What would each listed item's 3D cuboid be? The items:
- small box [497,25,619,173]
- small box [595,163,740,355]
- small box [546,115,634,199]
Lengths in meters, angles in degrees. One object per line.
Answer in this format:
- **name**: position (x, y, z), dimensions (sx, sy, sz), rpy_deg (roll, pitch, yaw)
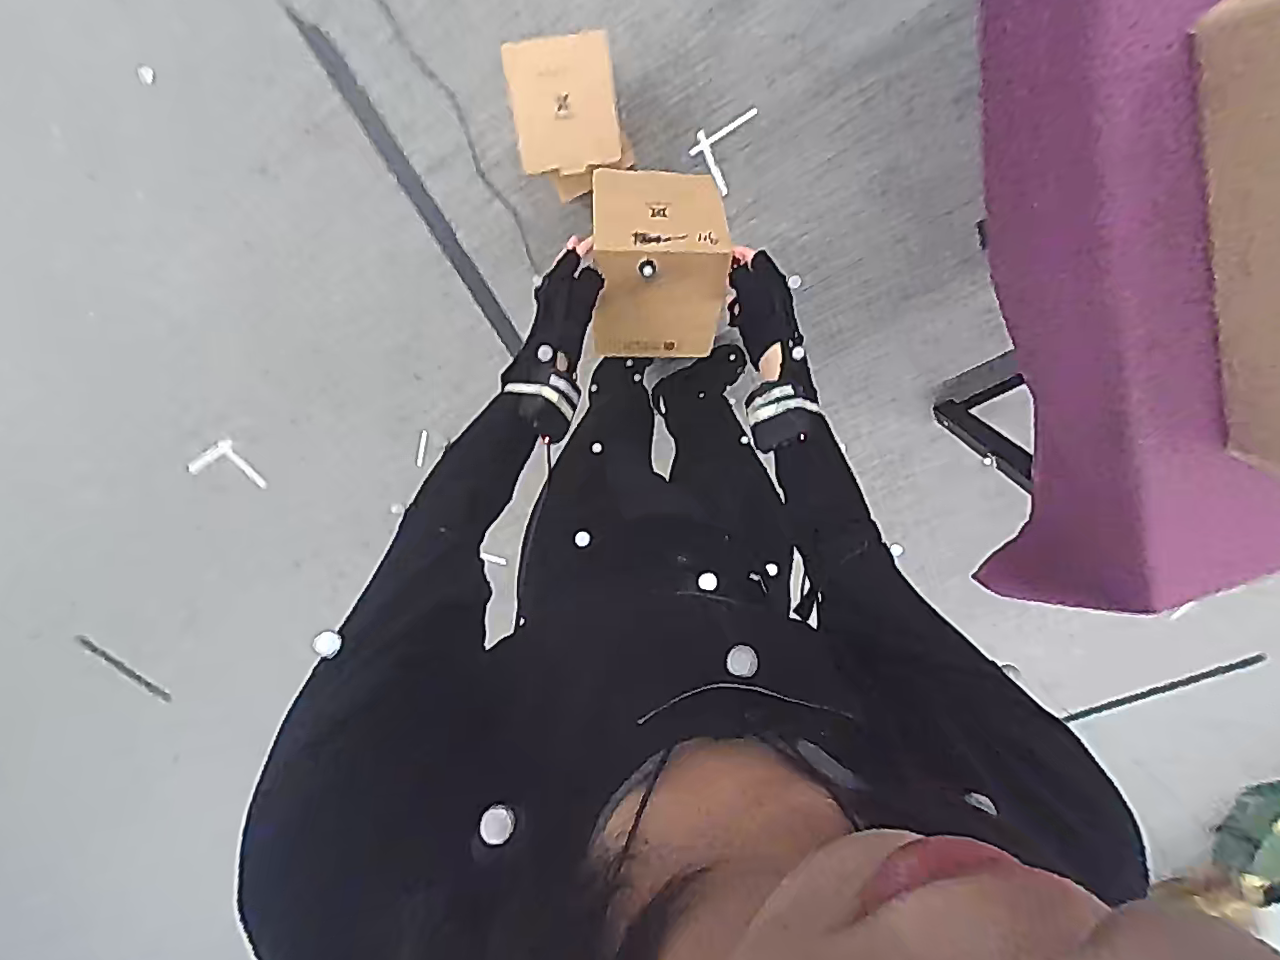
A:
- **small box**: position (-0.126, -0.629, 0.913), dimensions (0.168, 0.176, 0.179), rpy_deg (-8, 118, 2)
- **small box**: position (0.024, -0.290, 0.720), dimensions (0.168, 0.179, 0.176), rpy_deg (-1, 147, -5)
- **small box**: position (-0.123, -0.680, 1.070), dimensions (0.168, 0.176, 0.179), rpy_deg (-24, 117, 11)
